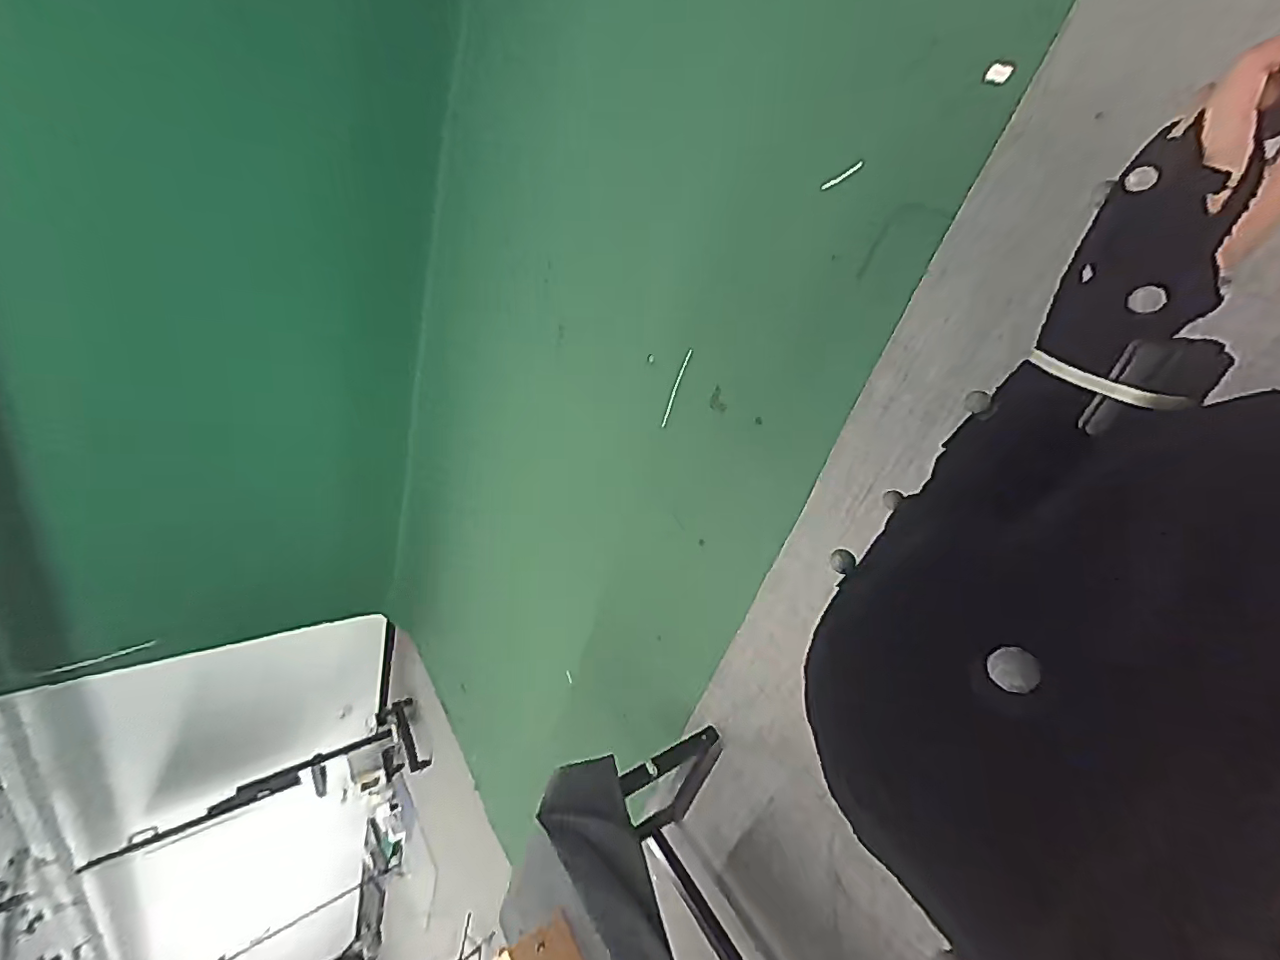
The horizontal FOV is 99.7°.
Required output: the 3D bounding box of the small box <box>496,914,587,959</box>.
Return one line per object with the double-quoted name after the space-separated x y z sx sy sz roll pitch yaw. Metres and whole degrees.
-0.246 1.275 1.407 0.179 0.176 0.168 55 134 28 "small box"
